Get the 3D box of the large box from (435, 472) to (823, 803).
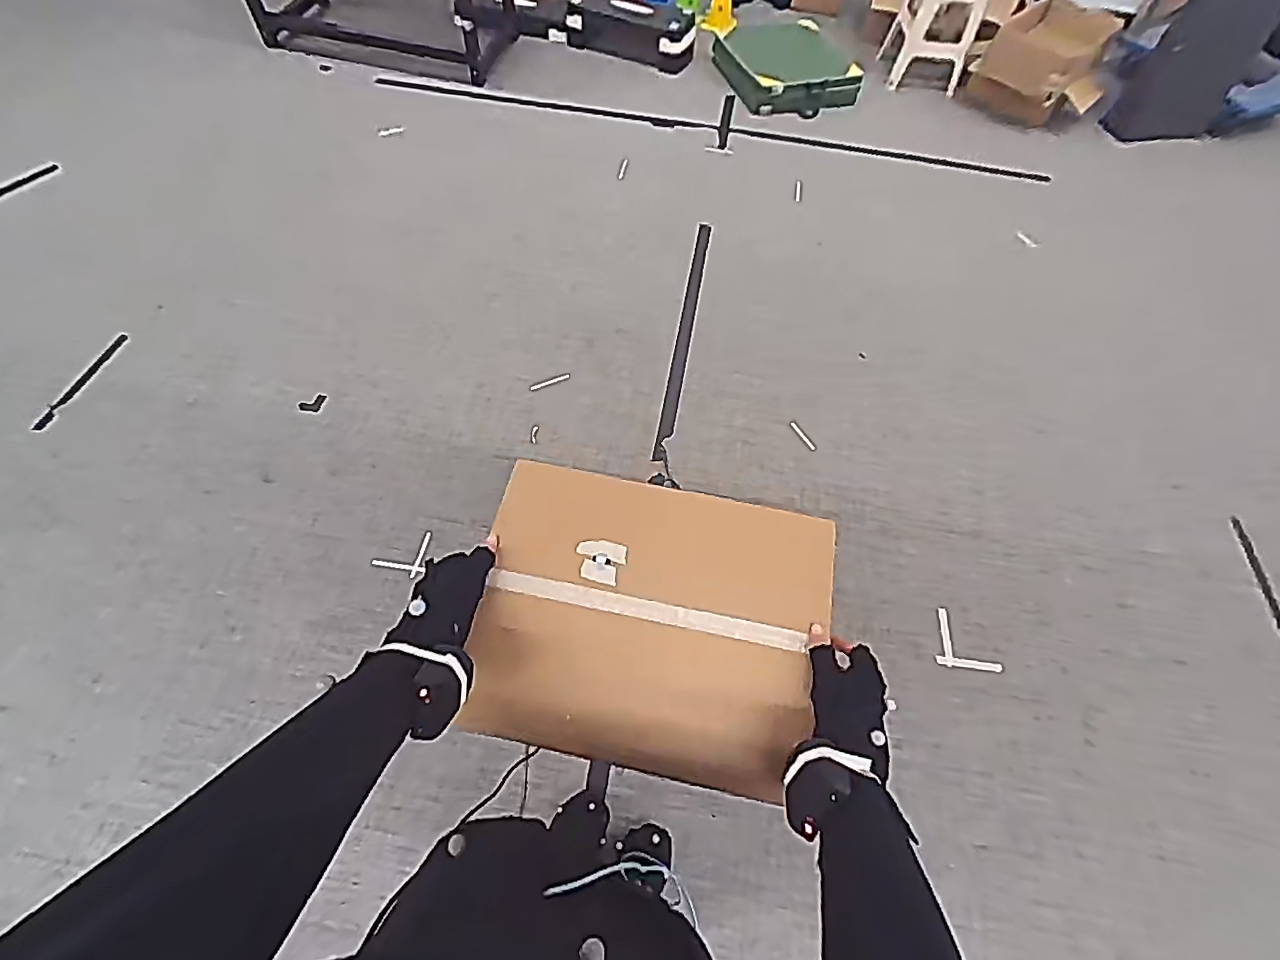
[{"bbox_3d":[0.007,0.221,0.755,0.408,0.320,0.320,11,64,6],"label":"large box"}]
